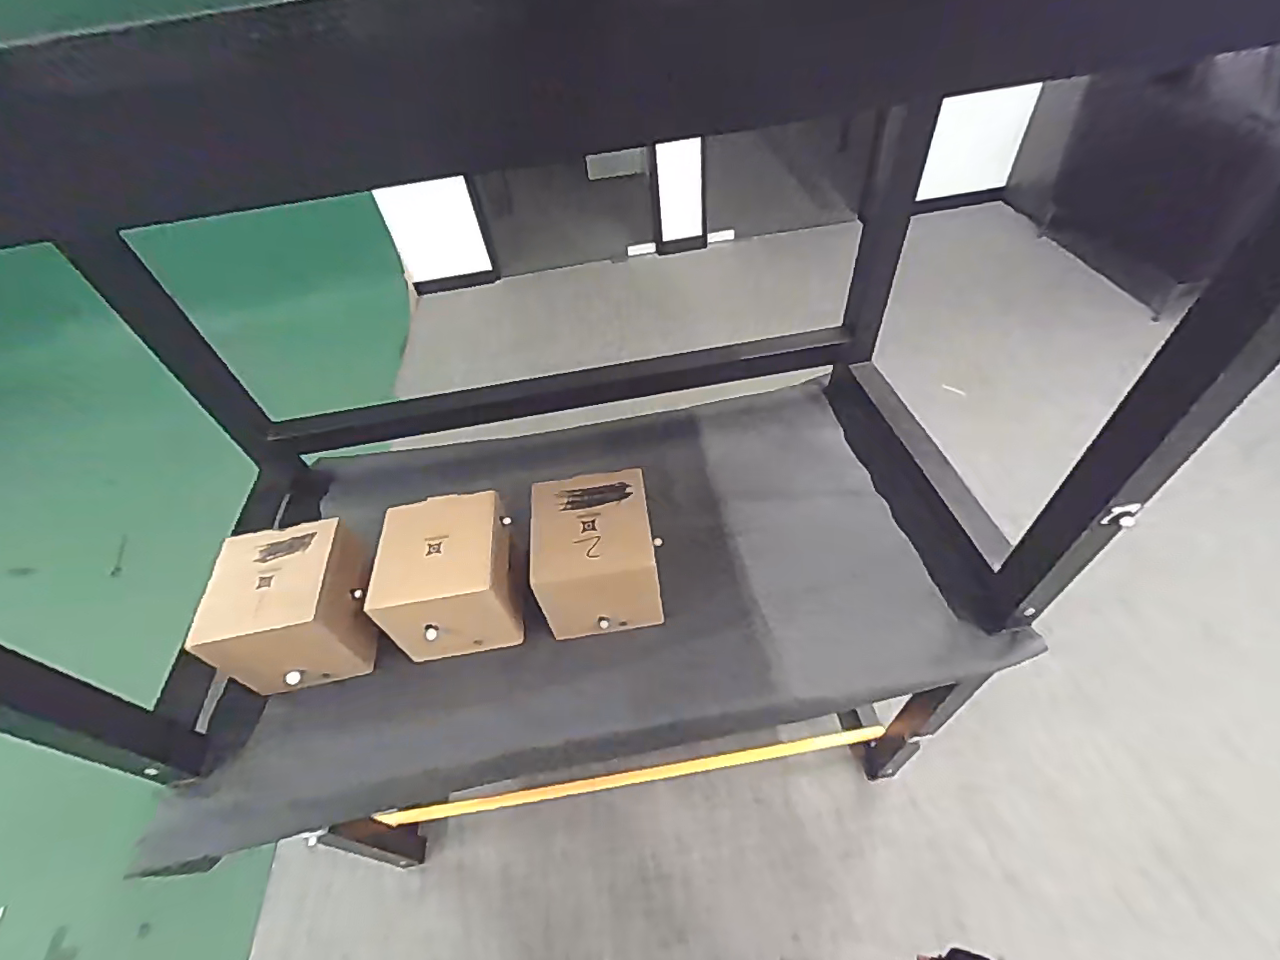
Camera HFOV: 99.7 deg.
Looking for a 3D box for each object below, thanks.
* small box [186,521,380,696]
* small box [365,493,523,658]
[{"bbox_3d":[-0.499,0.190,0.798,0.168,0.176,0.179,-12,48,-3],"label":"small box"},{"bbox_3d":[-0.276,0.149,0.808,0.168,0.176,0.179,-9,47,-1],"label":"small box"}]
